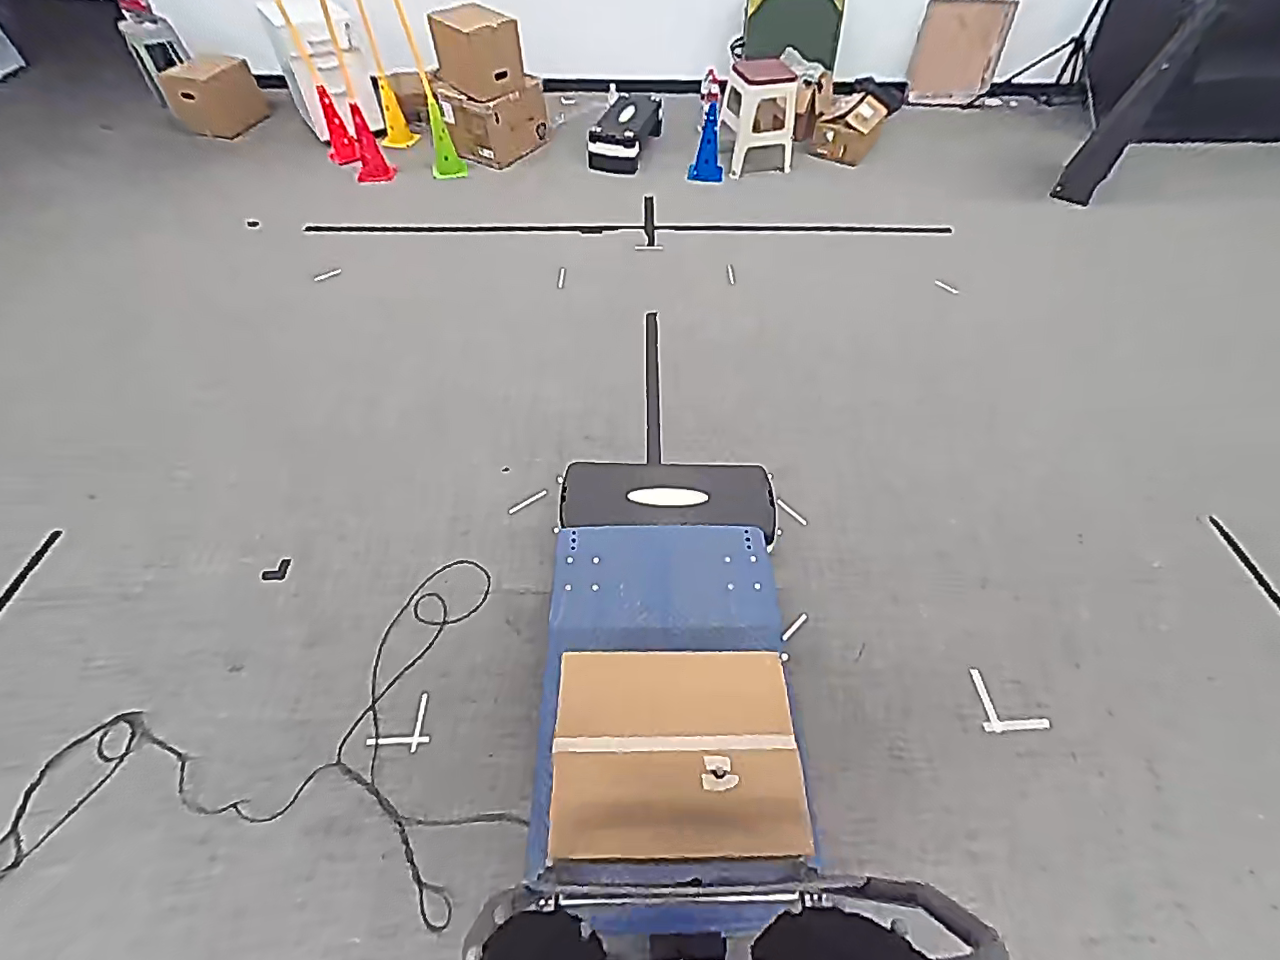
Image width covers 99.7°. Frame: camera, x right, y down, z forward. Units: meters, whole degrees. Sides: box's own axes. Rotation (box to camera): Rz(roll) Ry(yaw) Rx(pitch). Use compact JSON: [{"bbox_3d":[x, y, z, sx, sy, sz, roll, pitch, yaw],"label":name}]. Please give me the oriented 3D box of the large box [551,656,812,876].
[{"bbox_3d":[0.053,0.539,1.014,0.408,0.320,0.320,0,53,-2],"label":"large box"}]
